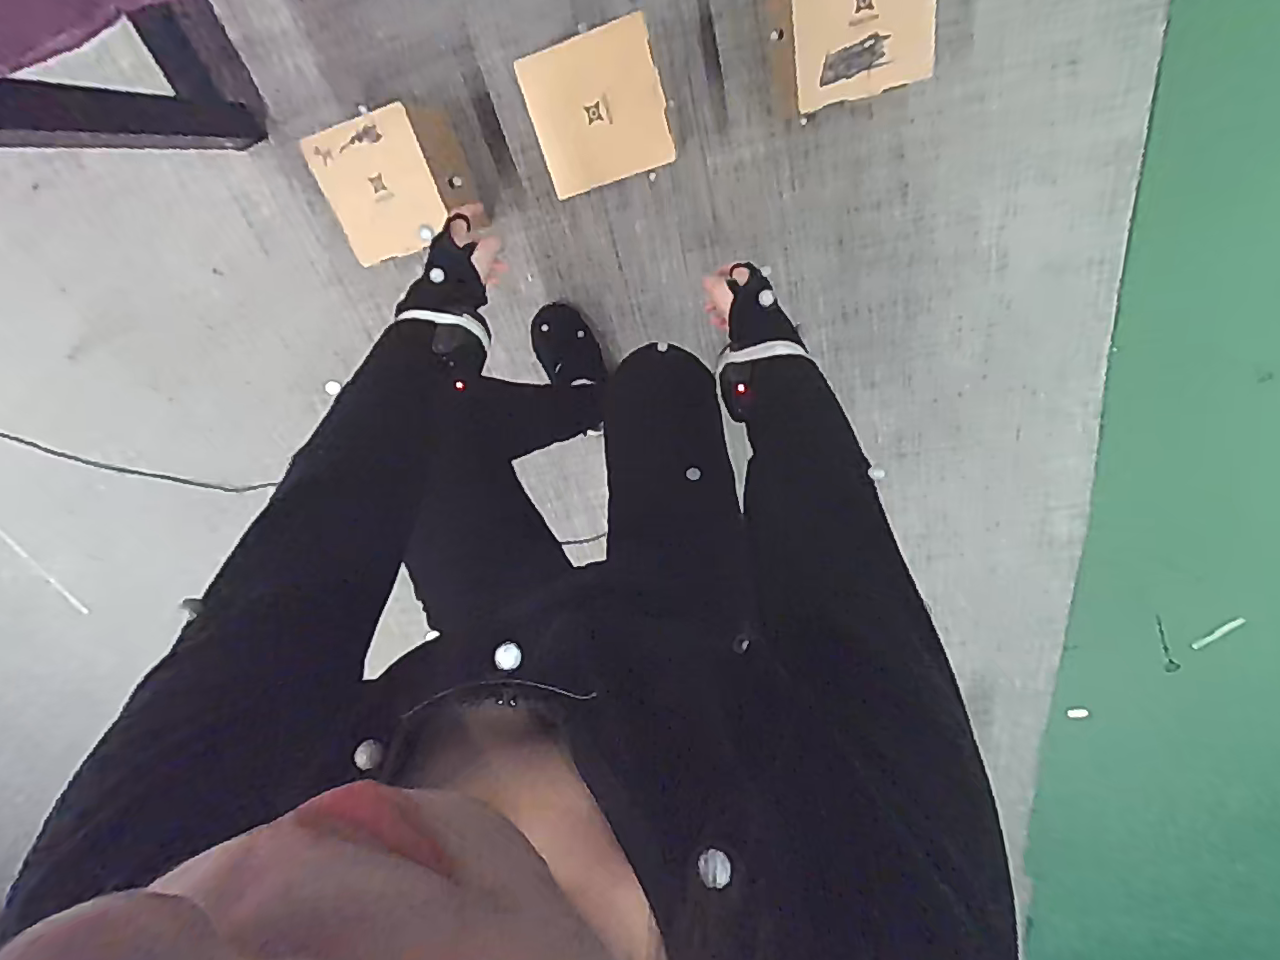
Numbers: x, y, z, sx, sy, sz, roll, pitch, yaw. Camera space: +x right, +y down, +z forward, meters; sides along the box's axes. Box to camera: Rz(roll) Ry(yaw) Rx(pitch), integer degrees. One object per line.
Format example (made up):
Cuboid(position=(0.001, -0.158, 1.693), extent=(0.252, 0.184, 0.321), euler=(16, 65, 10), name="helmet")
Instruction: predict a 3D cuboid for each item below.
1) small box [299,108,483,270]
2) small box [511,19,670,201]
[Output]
Cuboid(position=(-0.369, -0.454, 0.845), extent=(0.168, 0.176, 0.179), euler=(-14, 120, 10), name="small box")
Cuboid(position=(-0.058, -0.520, 0.784), extent=(0.179, 0.176, 0.168), euler=(-13, 119, 10), name="small box")
